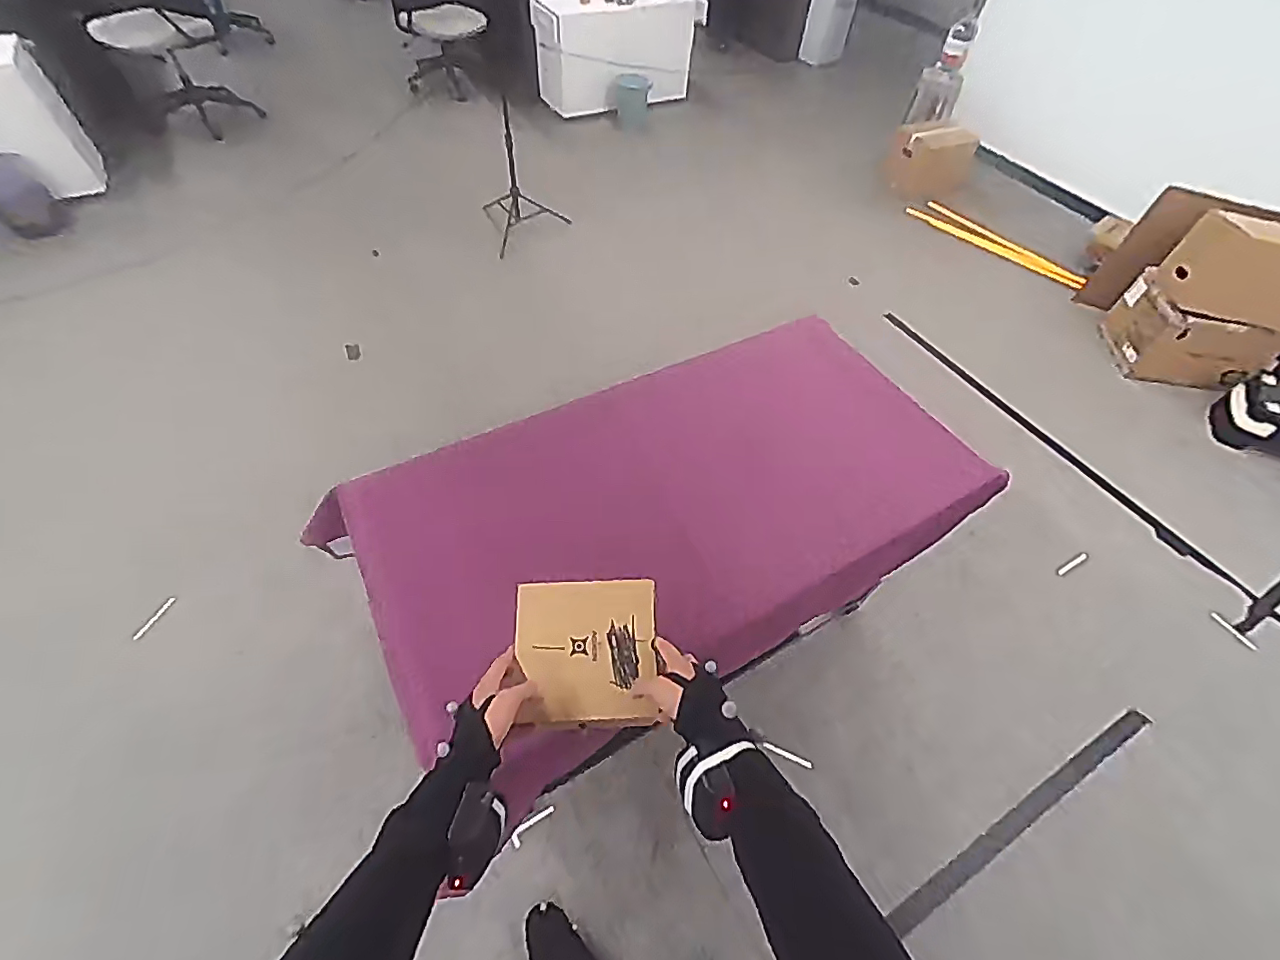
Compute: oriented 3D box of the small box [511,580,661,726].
[{"bbox_3d":[-0.068,0.237,0.731,0.179,0.176,0.168,-1,63,-2],"label":"small box"}]
